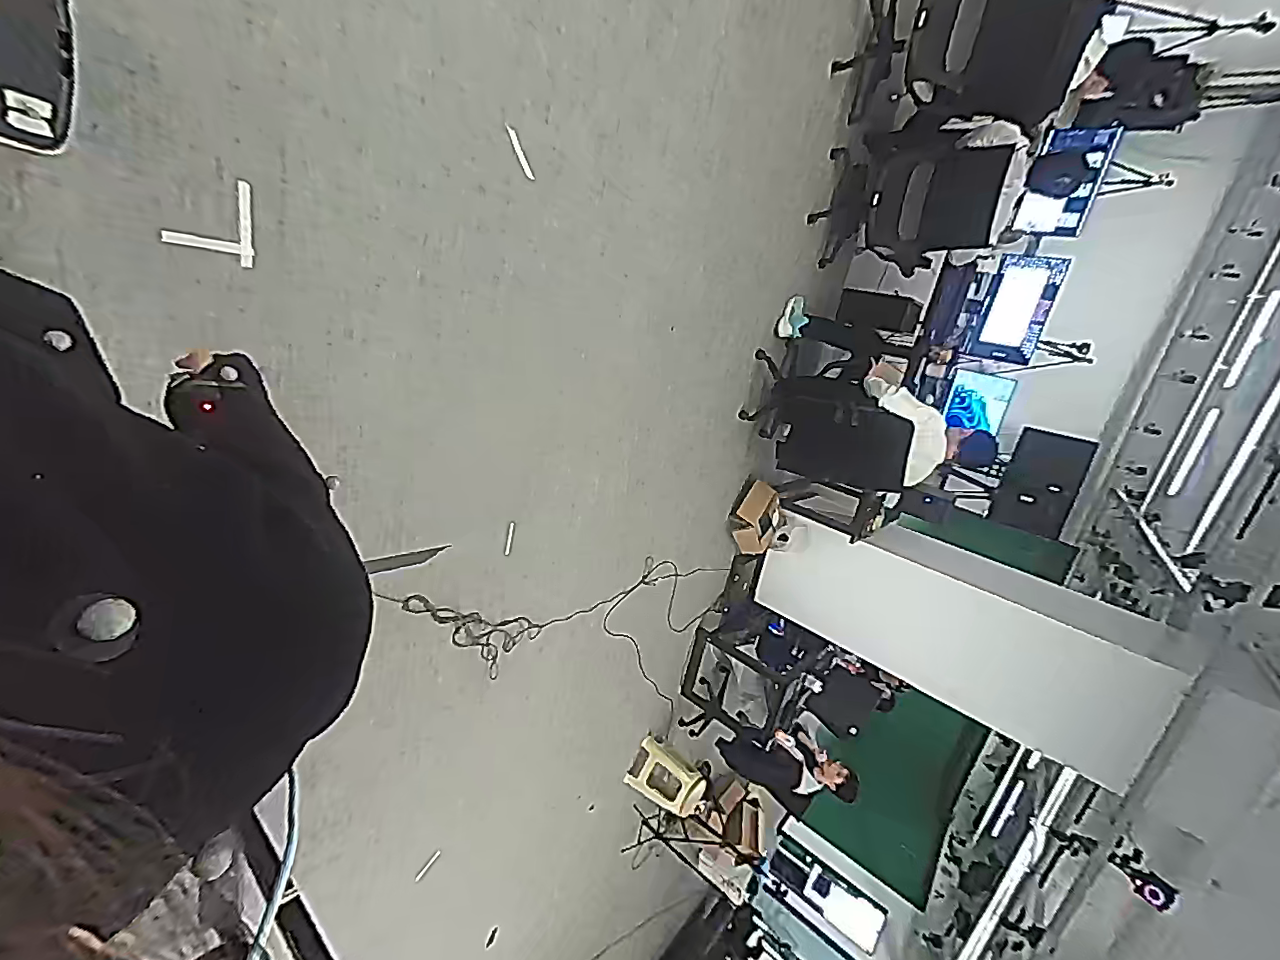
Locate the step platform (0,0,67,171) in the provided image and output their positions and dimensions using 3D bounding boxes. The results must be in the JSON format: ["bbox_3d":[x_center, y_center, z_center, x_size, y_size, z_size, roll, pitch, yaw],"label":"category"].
[{"bbox_3d":[-1.128,-0.634,0.595,0.684,0.204,0.286,2,108,-53],"label":"step platform"}]
